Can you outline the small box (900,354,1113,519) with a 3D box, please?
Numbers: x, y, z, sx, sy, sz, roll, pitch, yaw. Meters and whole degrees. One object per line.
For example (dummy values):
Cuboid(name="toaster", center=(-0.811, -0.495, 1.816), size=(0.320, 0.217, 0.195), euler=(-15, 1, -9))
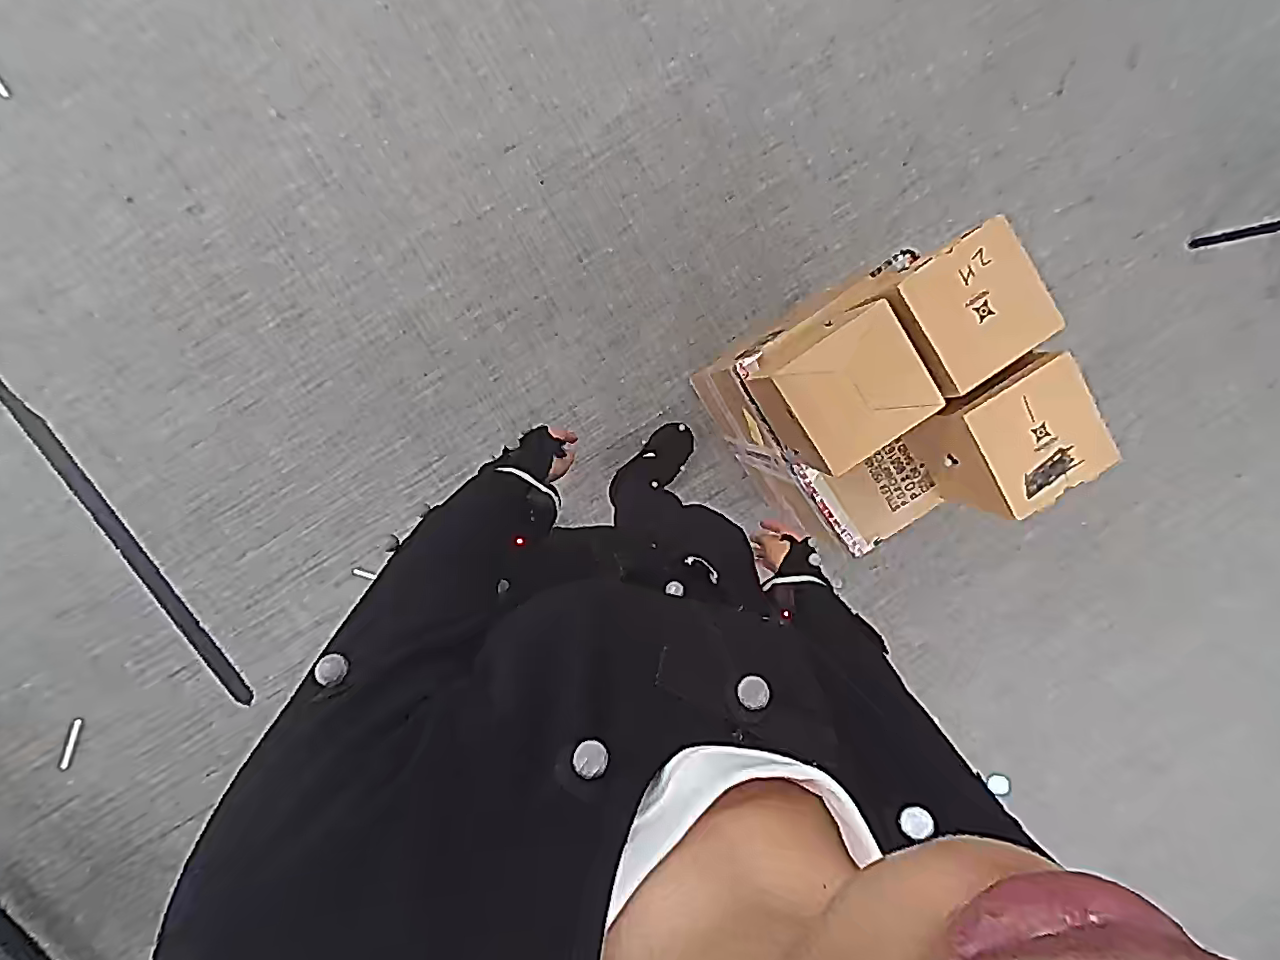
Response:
Cuboid(name="small box", center=(0.535, -0.070, 0.813), size=(0.168, 0.176, 0.179), euler=(-32, 99, 2))
